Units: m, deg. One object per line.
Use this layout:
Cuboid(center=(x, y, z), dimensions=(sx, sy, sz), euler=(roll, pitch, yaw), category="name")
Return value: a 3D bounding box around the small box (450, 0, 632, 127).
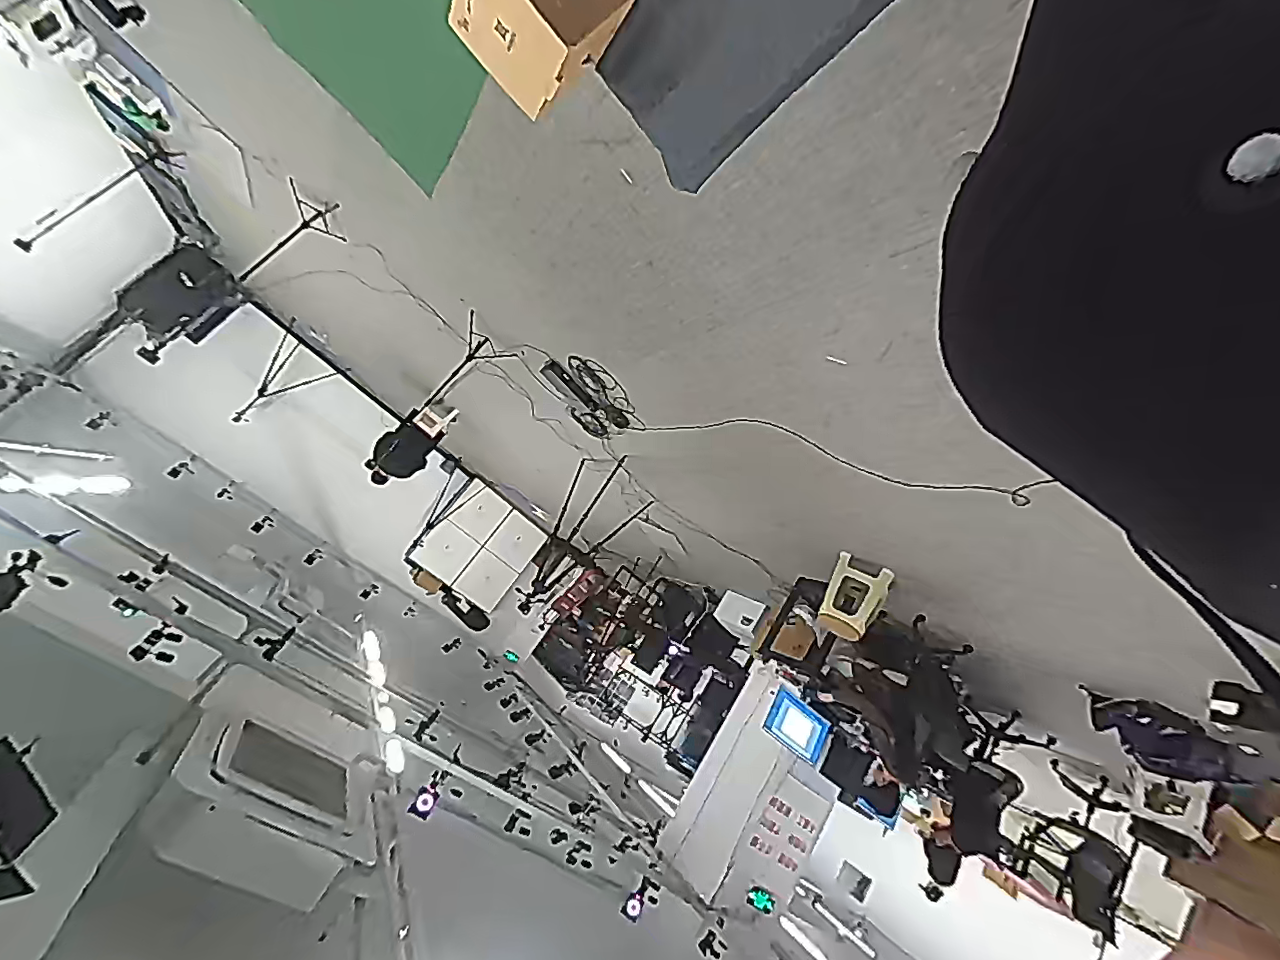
Cuboid(center=(-0.143, -0.685, 0.796), dimensions=(0.179, 0.176, 0.168), euler=(42, 159, -21), category="small box")
